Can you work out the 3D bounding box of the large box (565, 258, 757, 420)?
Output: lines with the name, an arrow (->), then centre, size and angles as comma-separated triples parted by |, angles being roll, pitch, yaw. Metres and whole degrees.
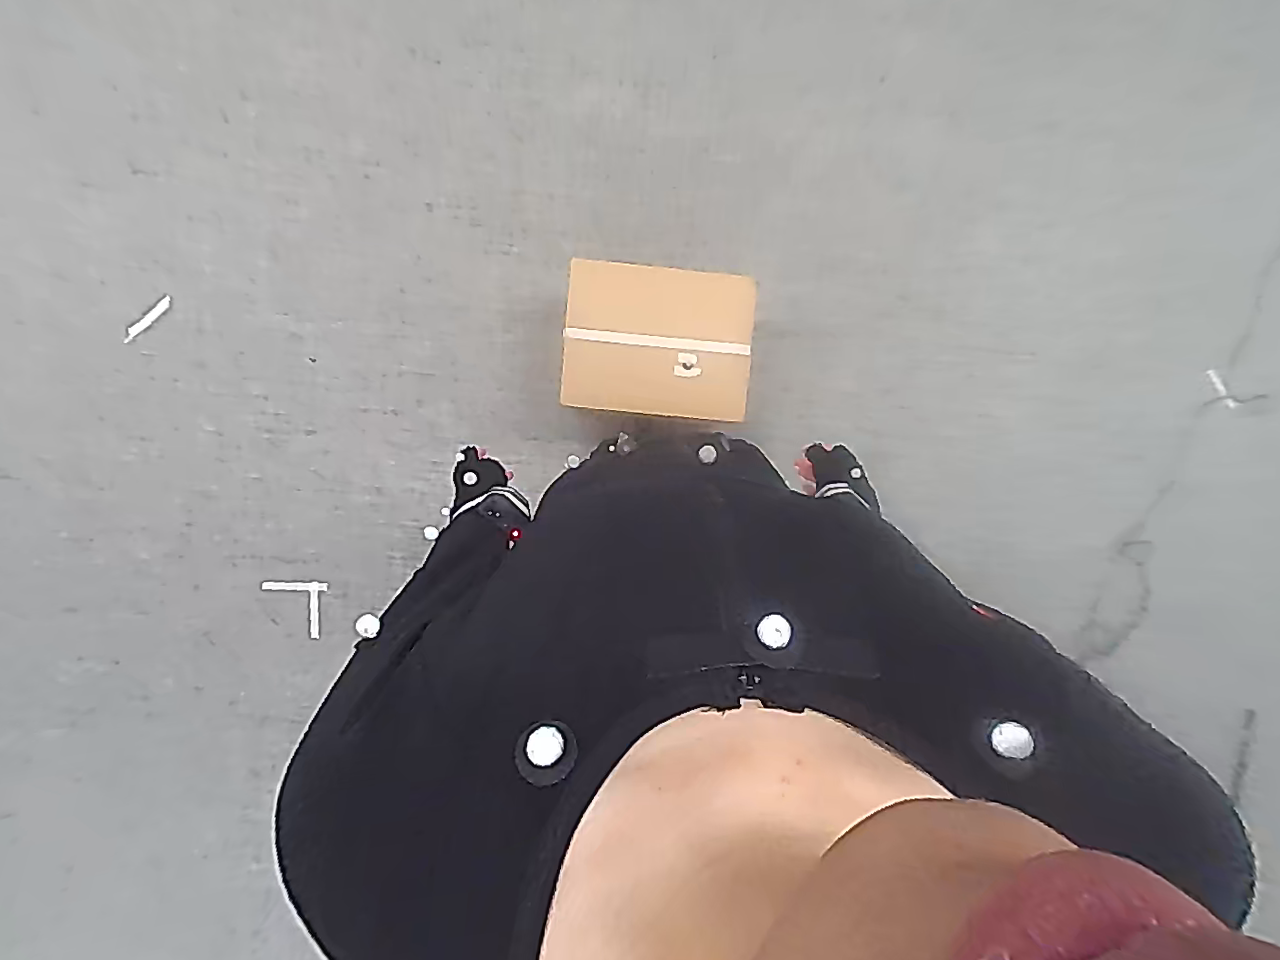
large box -> 0.035, -0.316, 1.309 | 0.408, 0.320, 0.320 | 5, 95, -4
